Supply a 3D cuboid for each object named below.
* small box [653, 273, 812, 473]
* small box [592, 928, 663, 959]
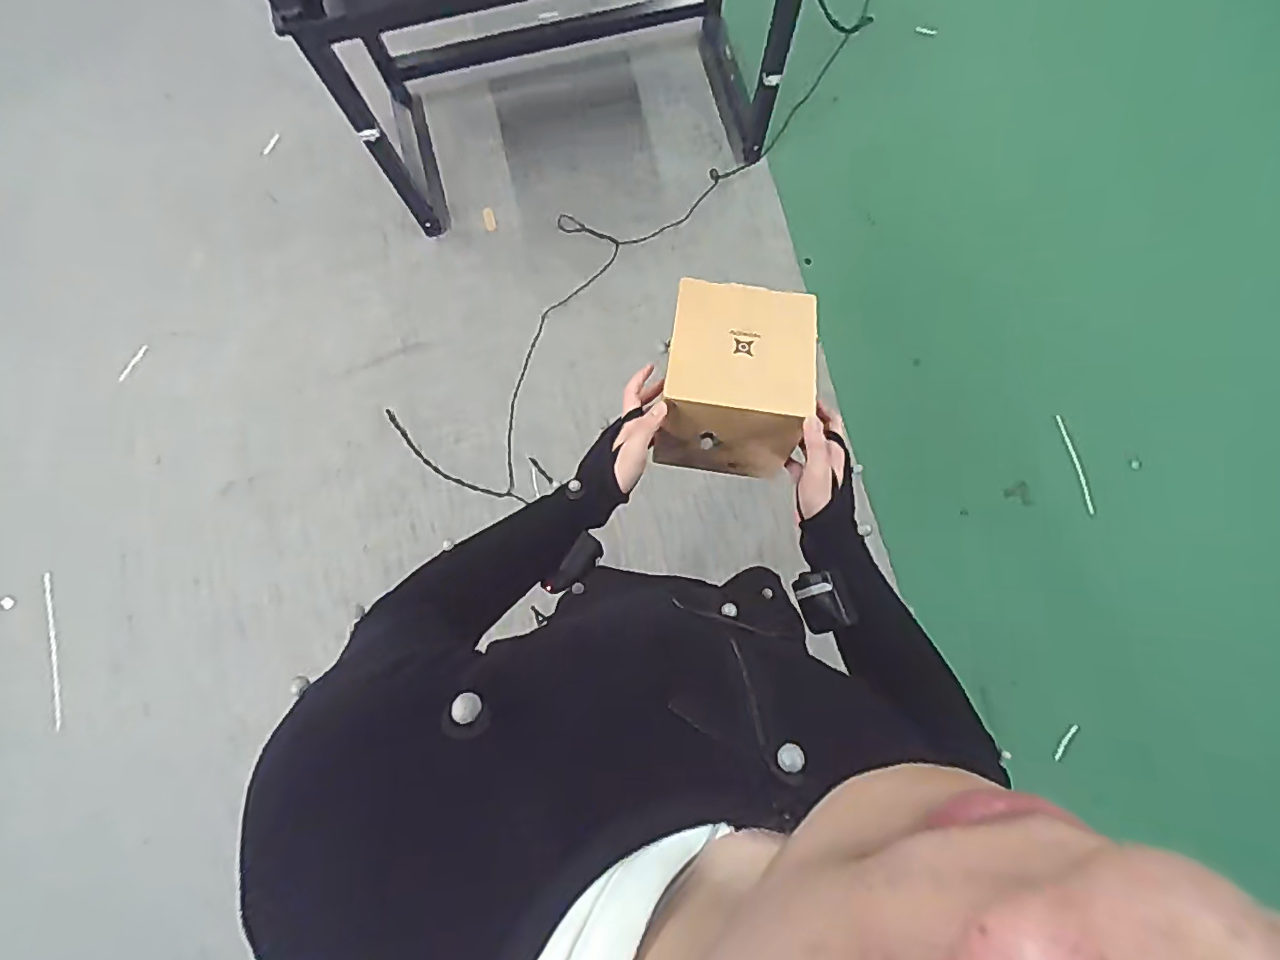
[{"bbox_3d":[0.108,-0.125,0.680,0.168,0.176,0.179,8,66,2],"label":"small box"},{"bbox_3d":[-0.027,1.259,1.337,0.179,0.176,0.168,-7,80,-1],"label":"small box"}]
